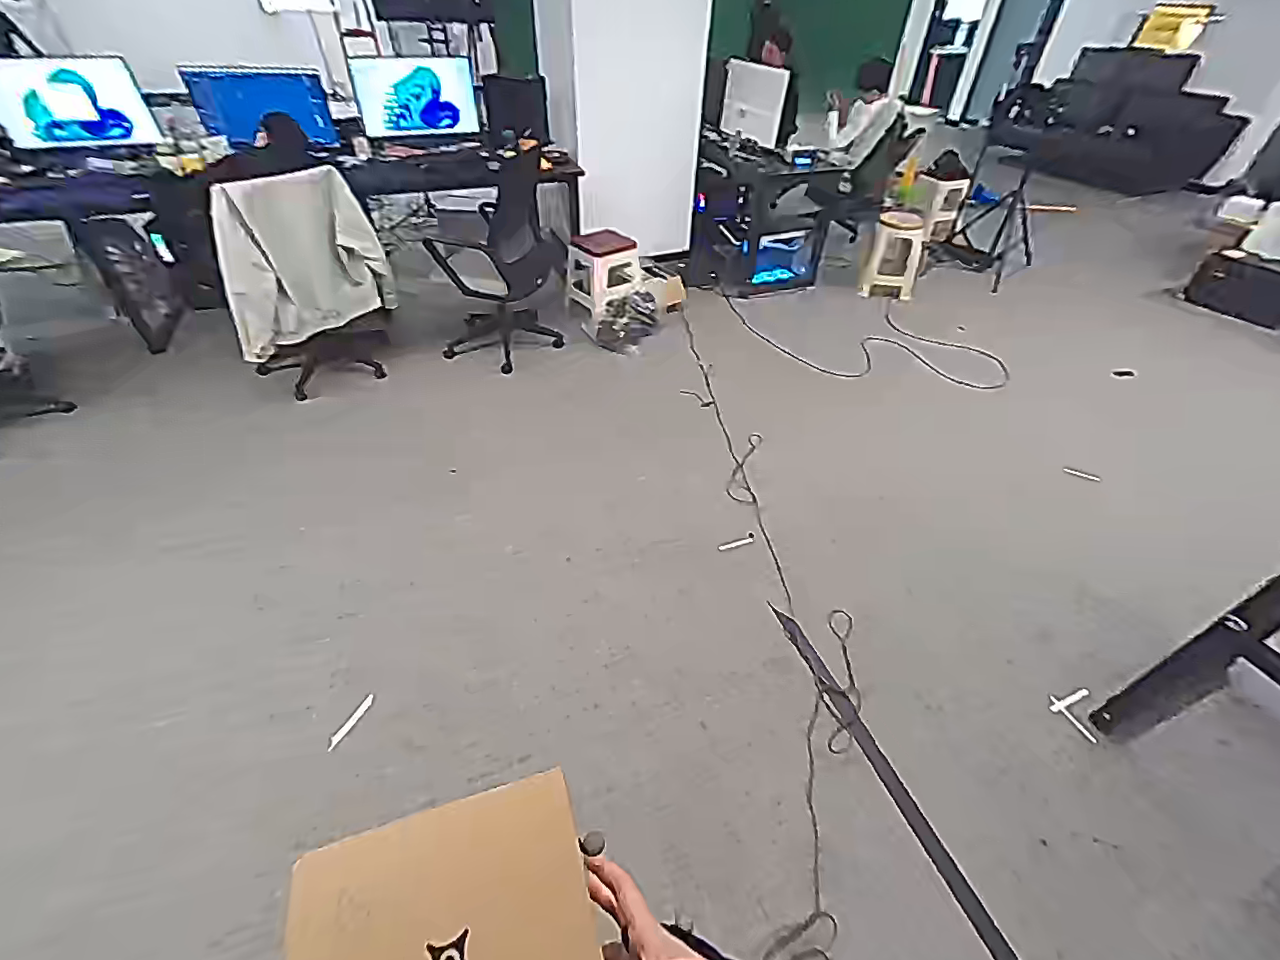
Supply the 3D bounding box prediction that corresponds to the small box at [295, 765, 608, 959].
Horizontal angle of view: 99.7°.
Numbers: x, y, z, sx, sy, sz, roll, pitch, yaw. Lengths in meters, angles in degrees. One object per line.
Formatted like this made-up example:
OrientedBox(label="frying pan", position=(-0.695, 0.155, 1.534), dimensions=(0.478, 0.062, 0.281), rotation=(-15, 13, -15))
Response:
OrientedBox(label="small box", position=(-0.107, 0.323, 0.352), dimensions=(0.168, 0.176, 0.179), rotation=(-11, 49, -14))
